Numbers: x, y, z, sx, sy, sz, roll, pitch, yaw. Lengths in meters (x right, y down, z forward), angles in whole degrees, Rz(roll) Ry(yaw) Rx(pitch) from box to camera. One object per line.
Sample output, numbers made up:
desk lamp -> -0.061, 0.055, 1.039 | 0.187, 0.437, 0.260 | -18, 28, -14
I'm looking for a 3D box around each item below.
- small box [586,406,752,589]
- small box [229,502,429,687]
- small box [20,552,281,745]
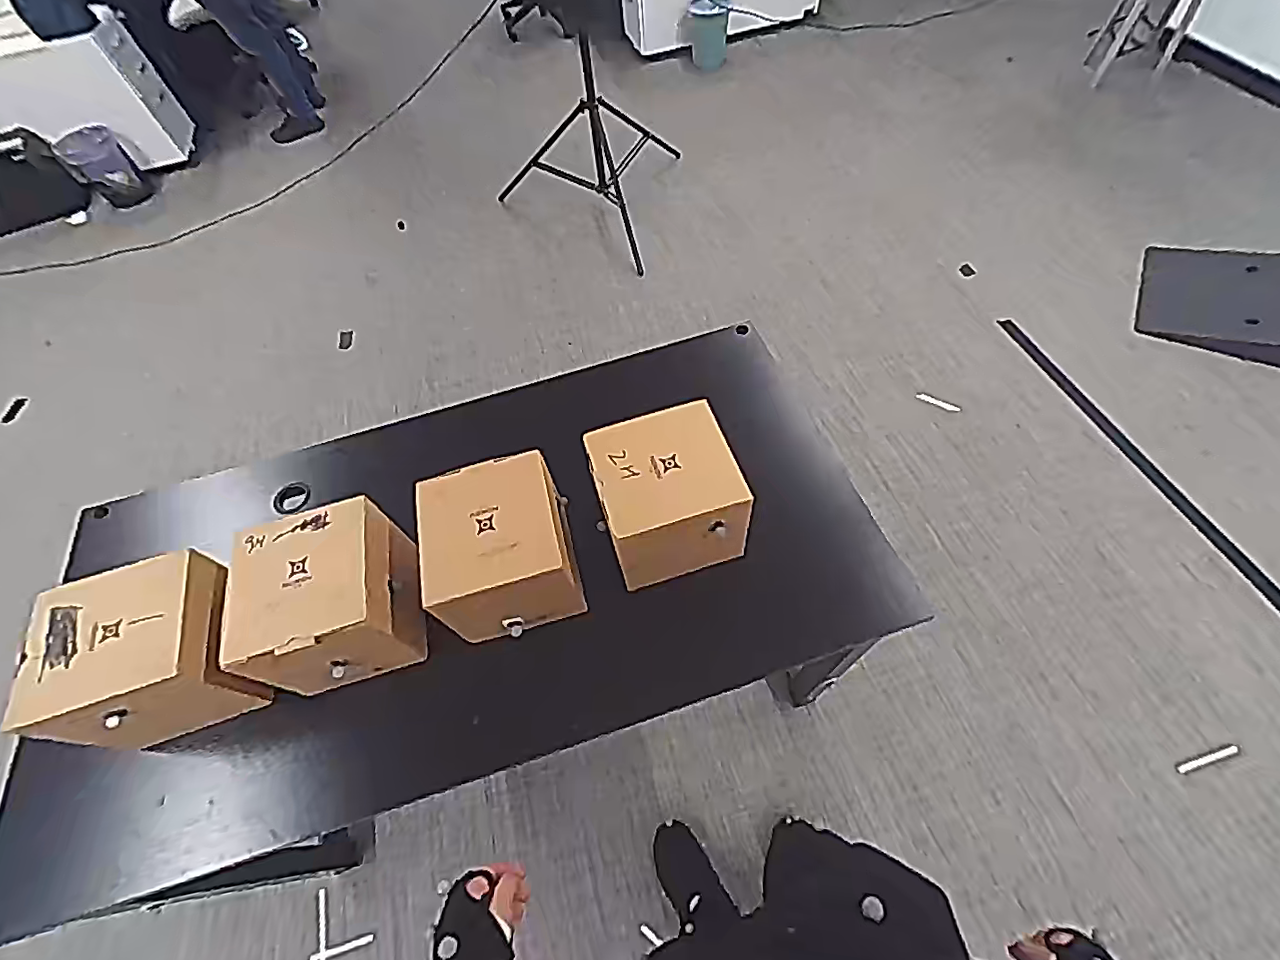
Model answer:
small box -> 0.037, 0.029, 0.752 | 0.179, 0.176, 0.168 | -16, 58, -4
small box -> -0.394, 0.160, 0.715 | 0.168, 0.176, 0.179 | -17, 59, -4
small box -> -0.599, 0.222, 0.695 | 0.179, 0.176, 0.168 | -18, 59, -7
